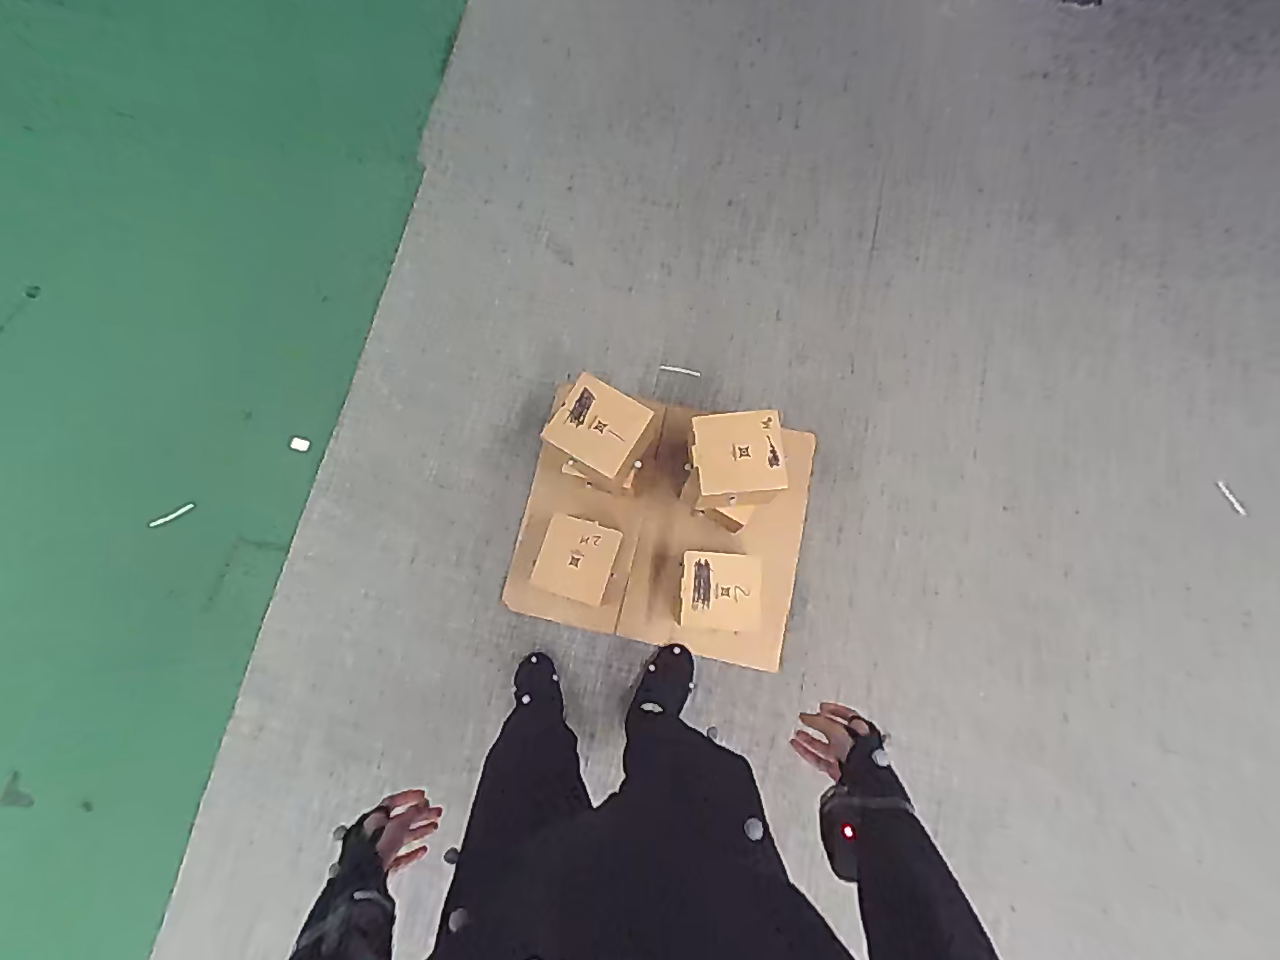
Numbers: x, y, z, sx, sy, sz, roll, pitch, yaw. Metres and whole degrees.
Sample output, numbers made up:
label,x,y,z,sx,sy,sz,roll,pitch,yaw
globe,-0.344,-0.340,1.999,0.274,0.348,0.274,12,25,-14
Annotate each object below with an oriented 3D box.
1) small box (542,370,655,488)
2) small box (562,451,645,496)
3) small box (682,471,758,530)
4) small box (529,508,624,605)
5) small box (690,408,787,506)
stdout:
label,x,y,z,sx,sy,sz,roll,pitch,yaw
small box,-0.083,-0.100,1.165,0.179,0.176,0.168,31,80,7
small box,-0.078,-0.069,1.326,0.168,0.176,0.179,14,78,4
small box,0.210,0.002,1.302,0.168,0.176,0.179,31,81,8
small box,-0.140,0.183,1.273,0.168,0.176,0.179,18,79,4
small box,0.198,-0.042,1.143,0.179,0.176,0.168,-5,78,1
